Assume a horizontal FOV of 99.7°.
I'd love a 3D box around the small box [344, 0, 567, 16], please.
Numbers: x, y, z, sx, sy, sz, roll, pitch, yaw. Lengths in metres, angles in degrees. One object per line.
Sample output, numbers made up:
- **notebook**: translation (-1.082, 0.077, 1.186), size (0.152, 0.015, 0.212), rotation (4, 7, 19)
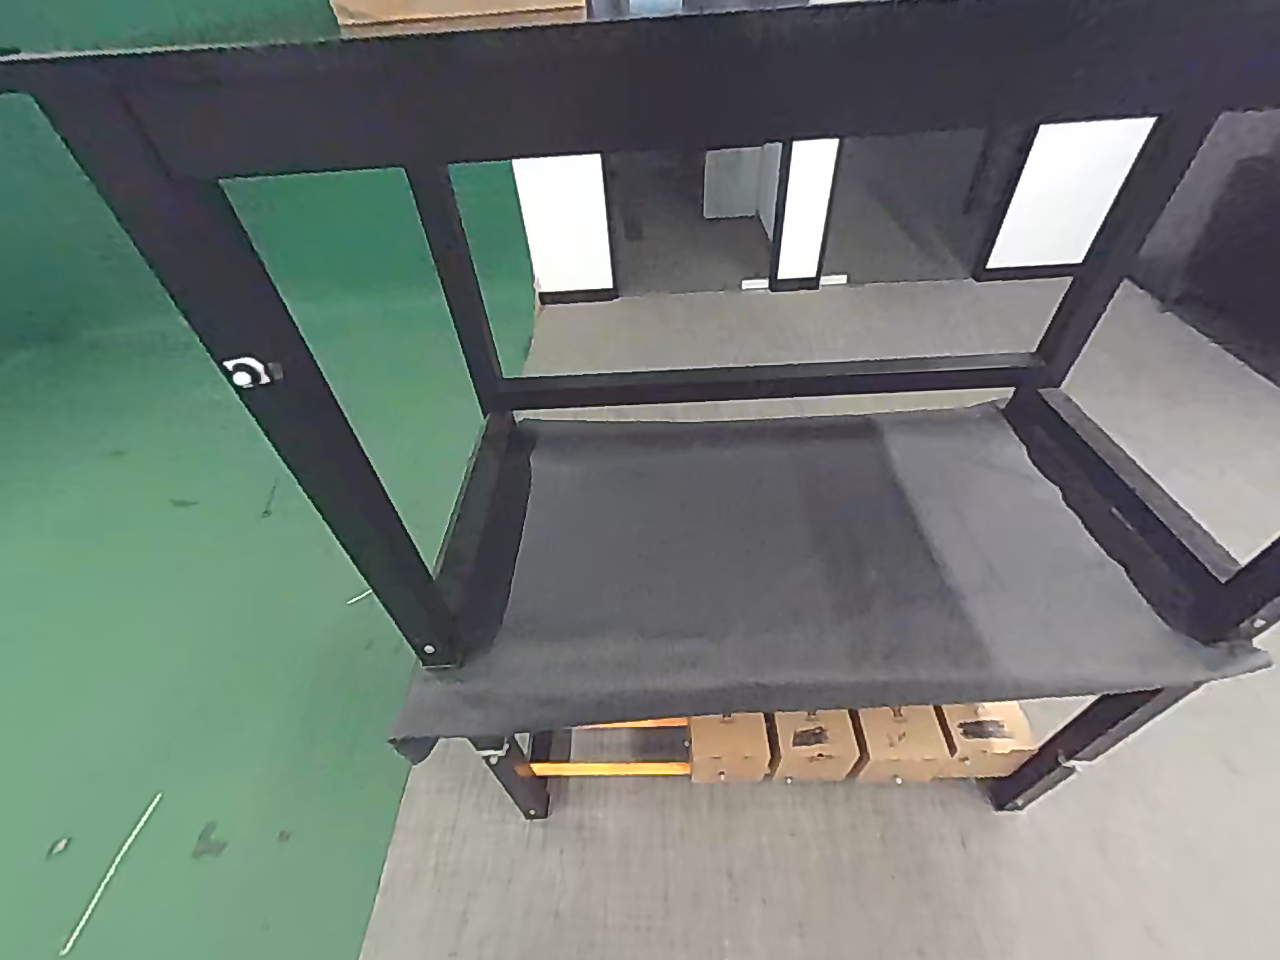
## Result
- **small box**: translation (-0.140, -0.436, 0.369), size (0.168, 0.176, 0.179), rotation (-11, 46, -5)
